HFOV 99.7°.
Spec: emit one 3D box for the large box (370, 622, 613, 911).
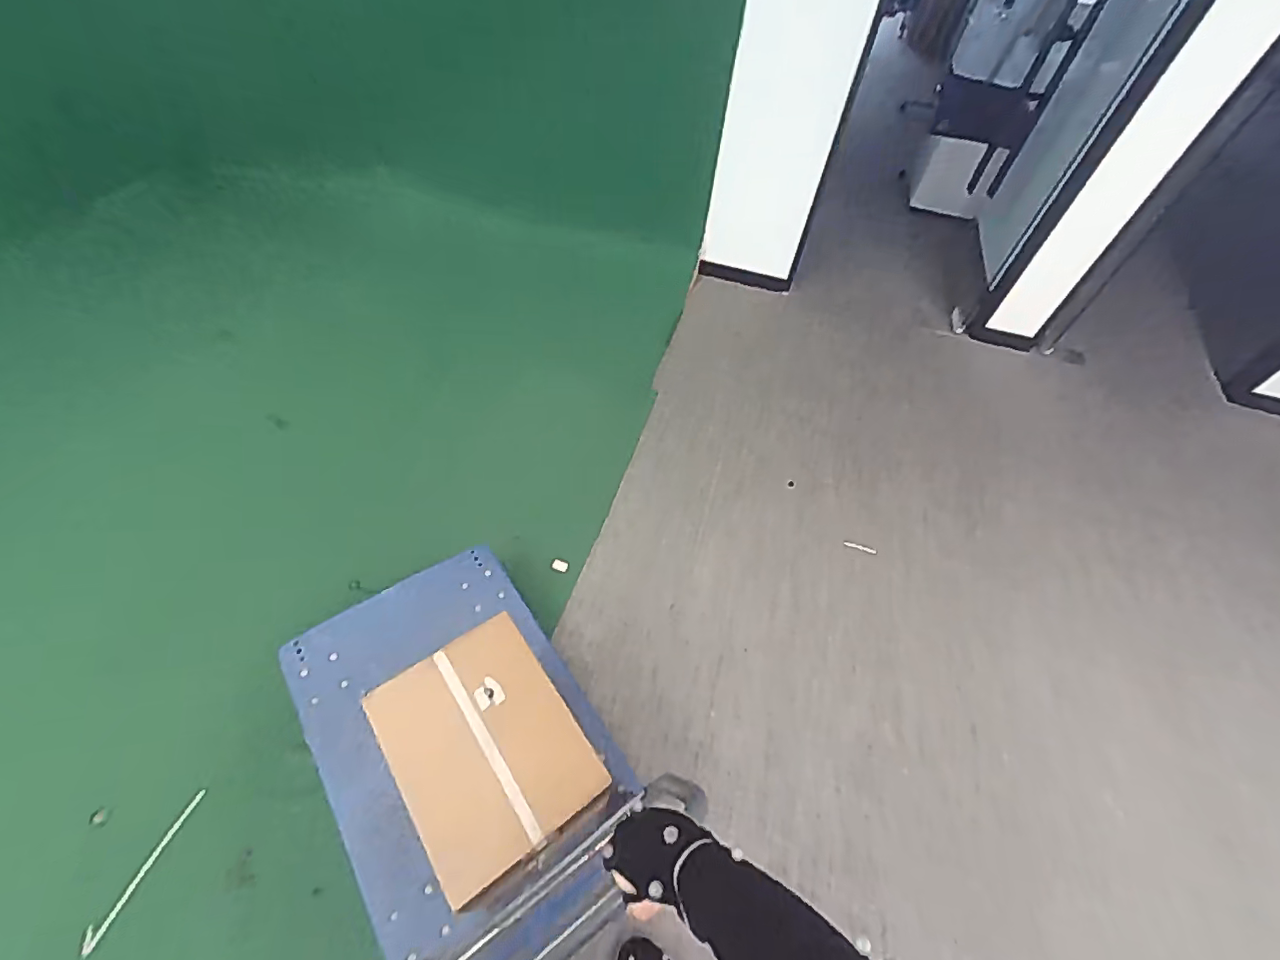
[{"bbox_3d":[-0.295,0.591,1.138,0.320,0.320,0.408,-28,60,-25],"label":"large box"}]
